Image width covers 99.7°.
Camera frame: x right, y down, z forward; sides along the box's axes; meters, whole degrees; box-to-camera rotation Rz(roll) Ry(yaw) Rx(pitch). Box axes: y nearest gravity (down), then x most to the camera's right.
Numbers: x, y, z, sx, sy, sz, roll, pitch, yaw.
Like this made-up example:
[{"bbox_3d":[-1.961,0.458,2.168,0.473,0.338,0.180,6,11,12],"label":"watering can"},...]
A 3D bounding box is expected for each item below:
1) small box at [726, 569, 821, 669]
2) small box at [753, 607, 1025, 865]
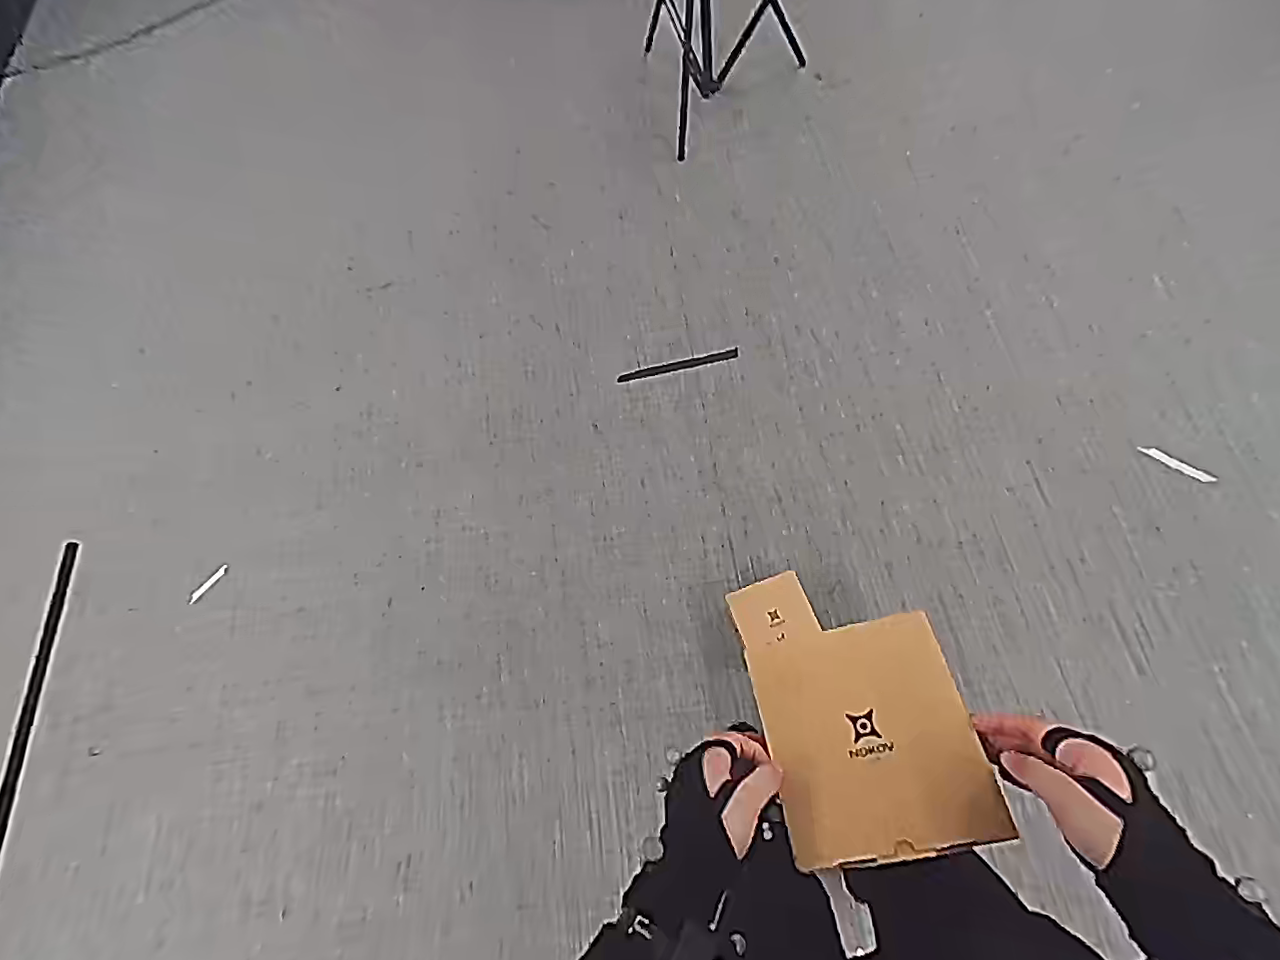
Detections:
[{"bbox_3d":[0.303,0.325,1.238,0.168,0.176,0.179,-21,68,2],"label":"small box"},{"bbox_3d":[0.213,0.241,0.517,0.168,0.176,0.179,-16,61,10],"label":"small box"}]
